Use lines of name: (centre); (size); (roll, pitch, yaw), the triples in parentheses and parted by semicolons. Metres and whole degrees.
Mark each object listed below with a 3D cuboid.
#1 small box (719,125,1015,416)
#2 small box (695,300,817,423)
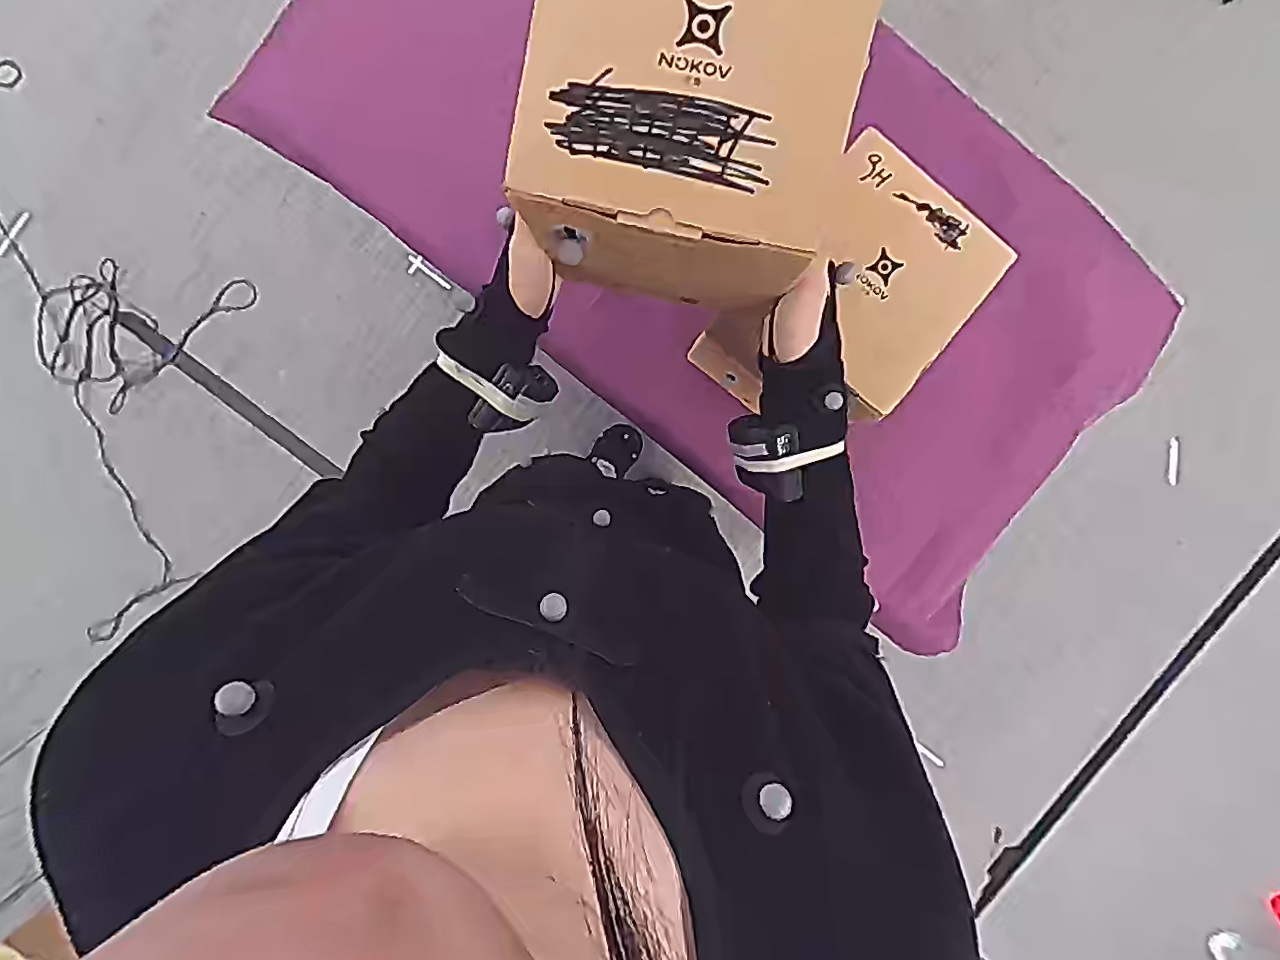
small box: (0.193, -0.175, 0.522); (0.168, 0.176, 0.179); (39, 93, -4)
small box: (0.185, -0.186, 0.686); (0.168, 0.176, 0.179); (38, 92, -4)
